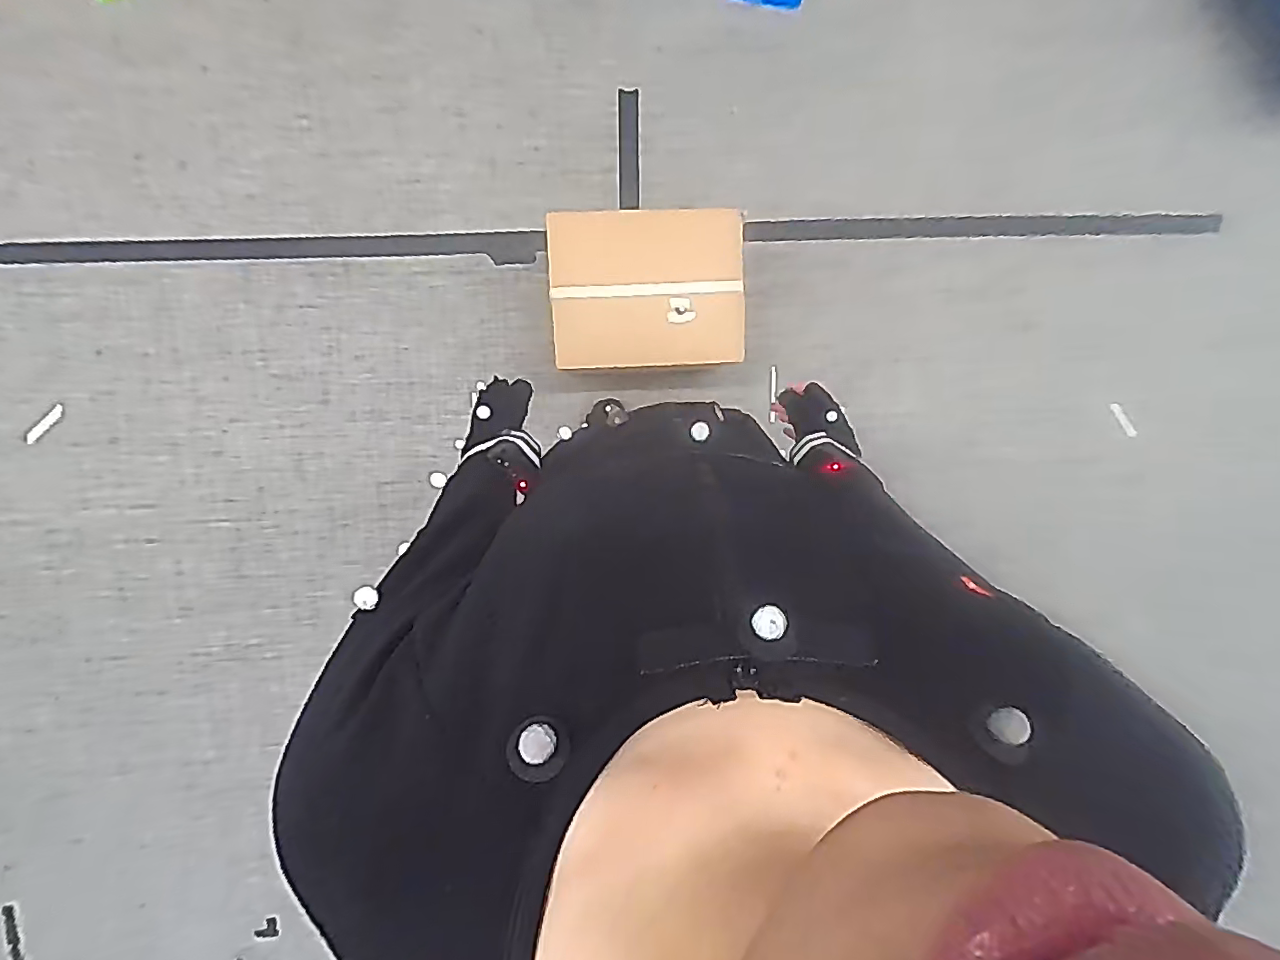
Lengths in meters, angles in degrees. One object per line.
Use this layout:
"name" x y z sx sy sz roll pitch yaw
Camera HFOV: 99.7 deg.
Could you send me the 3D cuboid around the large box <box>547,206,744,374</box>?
"large box" 0.005 -0.425 1.275 0.408 0.320 0.320 -4 100 -4
